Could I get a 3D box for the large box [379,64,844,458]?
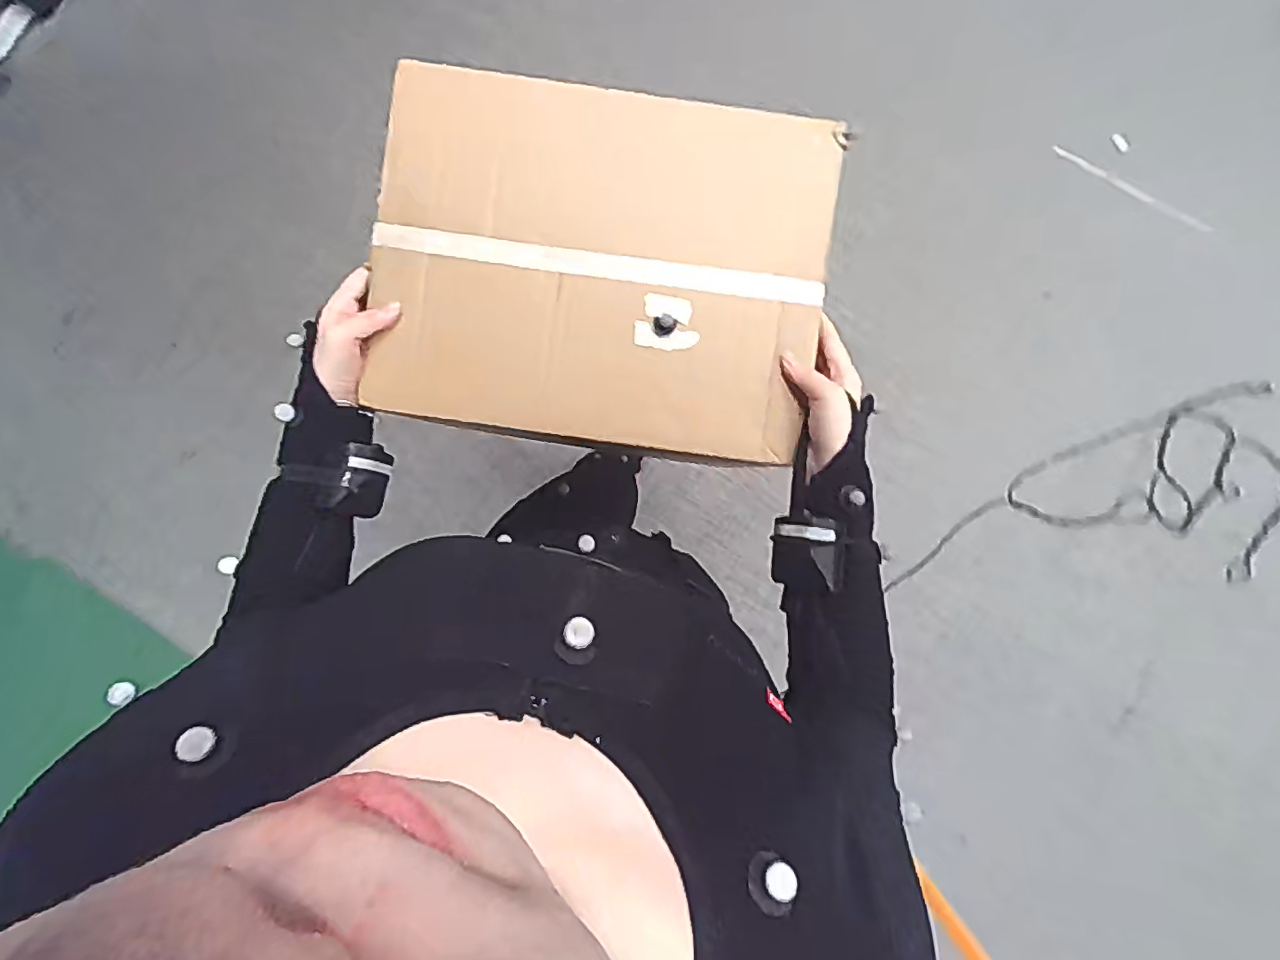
[{"bbox_3d":[-0.031,-0.206,0.646,0.408,0.320,0.320,8,91,-2],"label":"large box"}]
